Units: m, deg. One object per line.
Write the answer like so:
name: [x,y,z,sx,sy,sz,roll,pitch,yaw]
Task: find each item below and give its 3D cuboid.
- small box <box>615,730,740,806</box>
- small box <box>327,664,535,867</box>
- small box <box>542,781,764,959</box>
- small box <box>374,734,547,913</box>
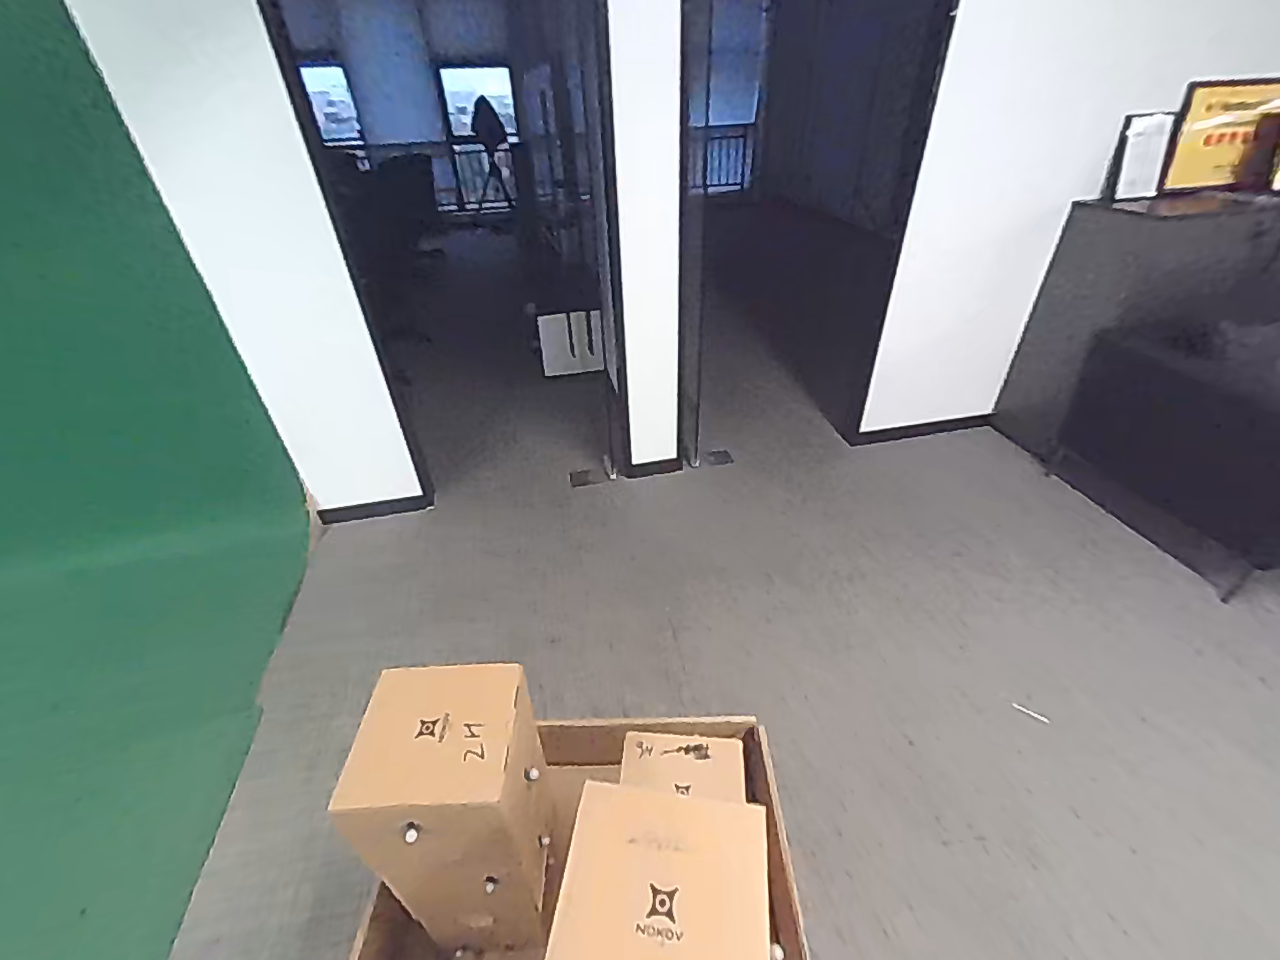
small box: [0.049,0.476,0.741,0.168,0.176,0.179,3,37,5]
small box: [-0.232,0.345,0.655,0.179,0.176,0.168,-1,36,-2]
small box: [0.016,0.401,0.469,0.168,0.176,0.179,5,36,7]
small box: [-0.233,0.477,0.754,0.179,0.176,0.168,0,36,-1]
